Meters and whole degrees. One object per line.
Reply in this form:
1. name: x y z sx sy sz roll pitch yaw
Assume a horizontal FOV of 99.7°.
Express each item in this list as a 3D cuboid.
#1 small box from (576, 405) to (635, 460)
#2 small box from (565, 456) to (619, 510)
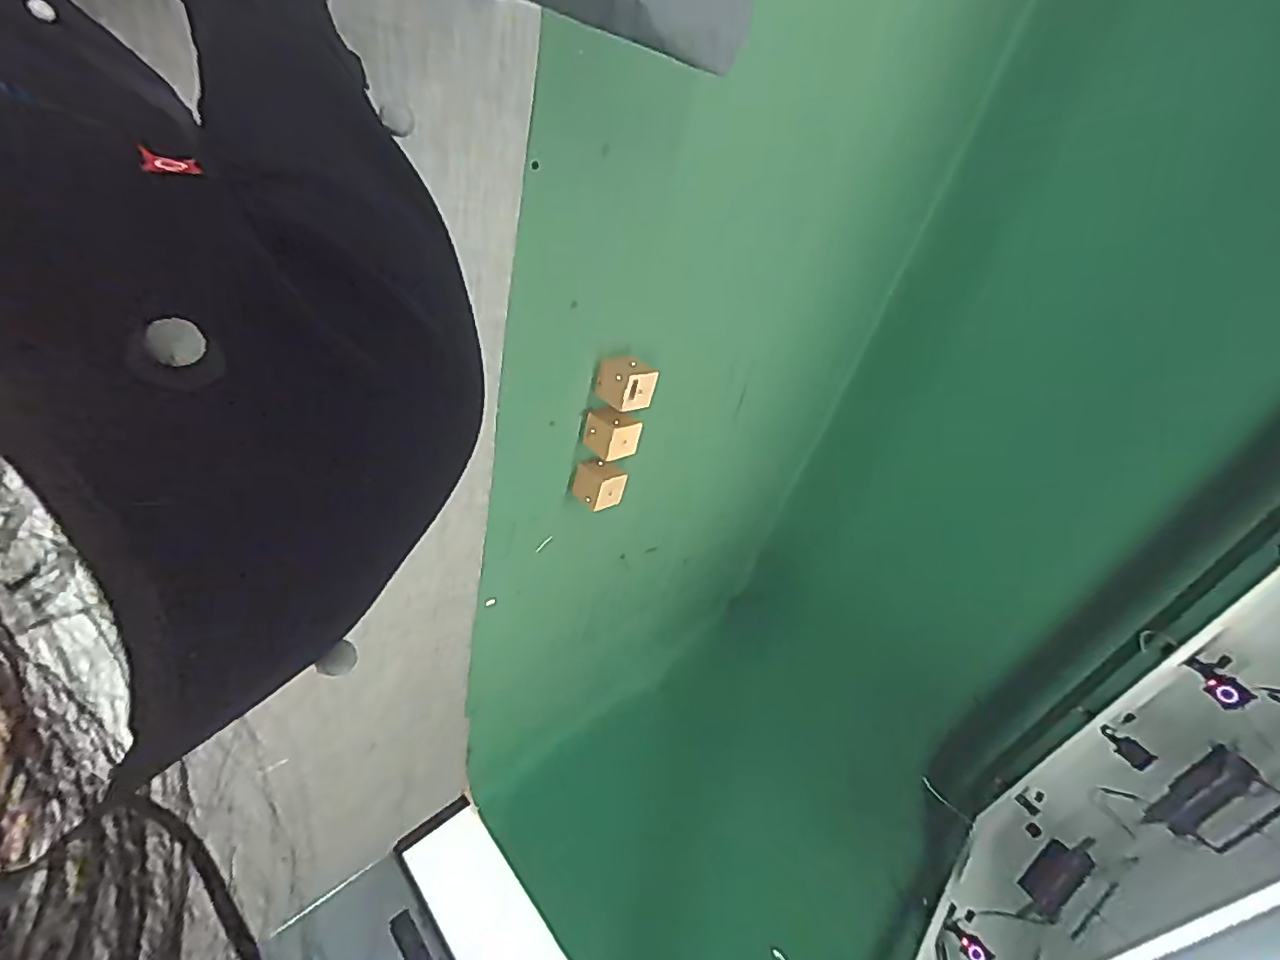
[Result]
1. small box: -0.157 -0.217 2.393 0.179 0.176 0.168 -19 137 -42
2. small box: -0.229 0.007 2.536 0.168 0.176 0.179 -18 137 -45
